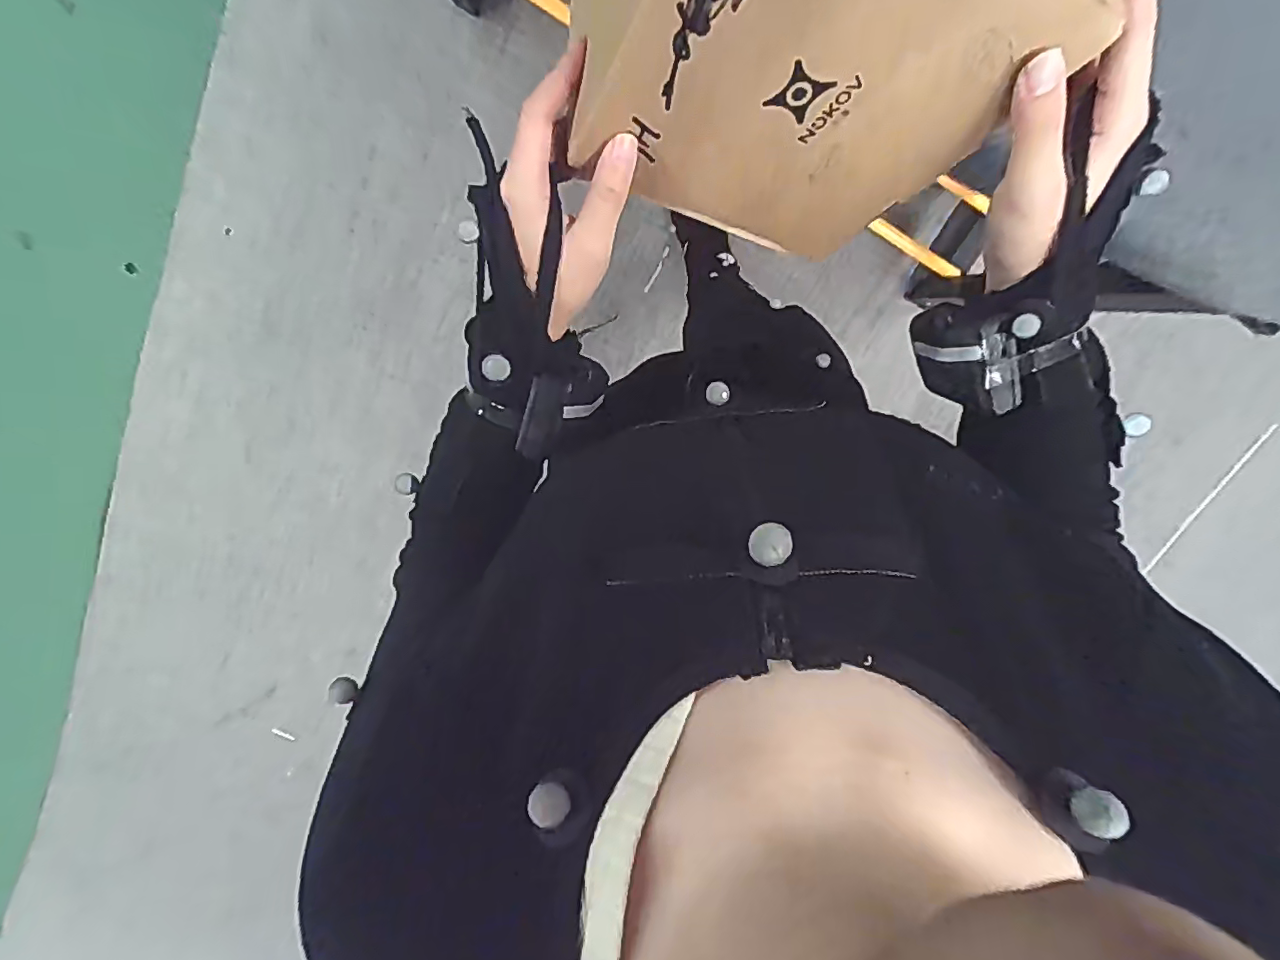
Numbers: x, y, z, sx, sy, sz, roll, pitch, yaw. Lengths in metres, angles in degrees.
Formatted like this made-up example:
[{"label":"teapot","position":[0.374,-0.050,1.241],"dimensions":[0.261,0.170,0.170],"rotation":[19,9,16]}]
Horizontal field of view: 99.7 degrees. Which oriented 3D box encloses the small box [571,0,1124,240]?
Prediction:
[{"label":"small box","position":[0.077,-0.257,0.258],"dimensions":[0.179,0.168,0.176],"rotation":[7,73,-27]}]
